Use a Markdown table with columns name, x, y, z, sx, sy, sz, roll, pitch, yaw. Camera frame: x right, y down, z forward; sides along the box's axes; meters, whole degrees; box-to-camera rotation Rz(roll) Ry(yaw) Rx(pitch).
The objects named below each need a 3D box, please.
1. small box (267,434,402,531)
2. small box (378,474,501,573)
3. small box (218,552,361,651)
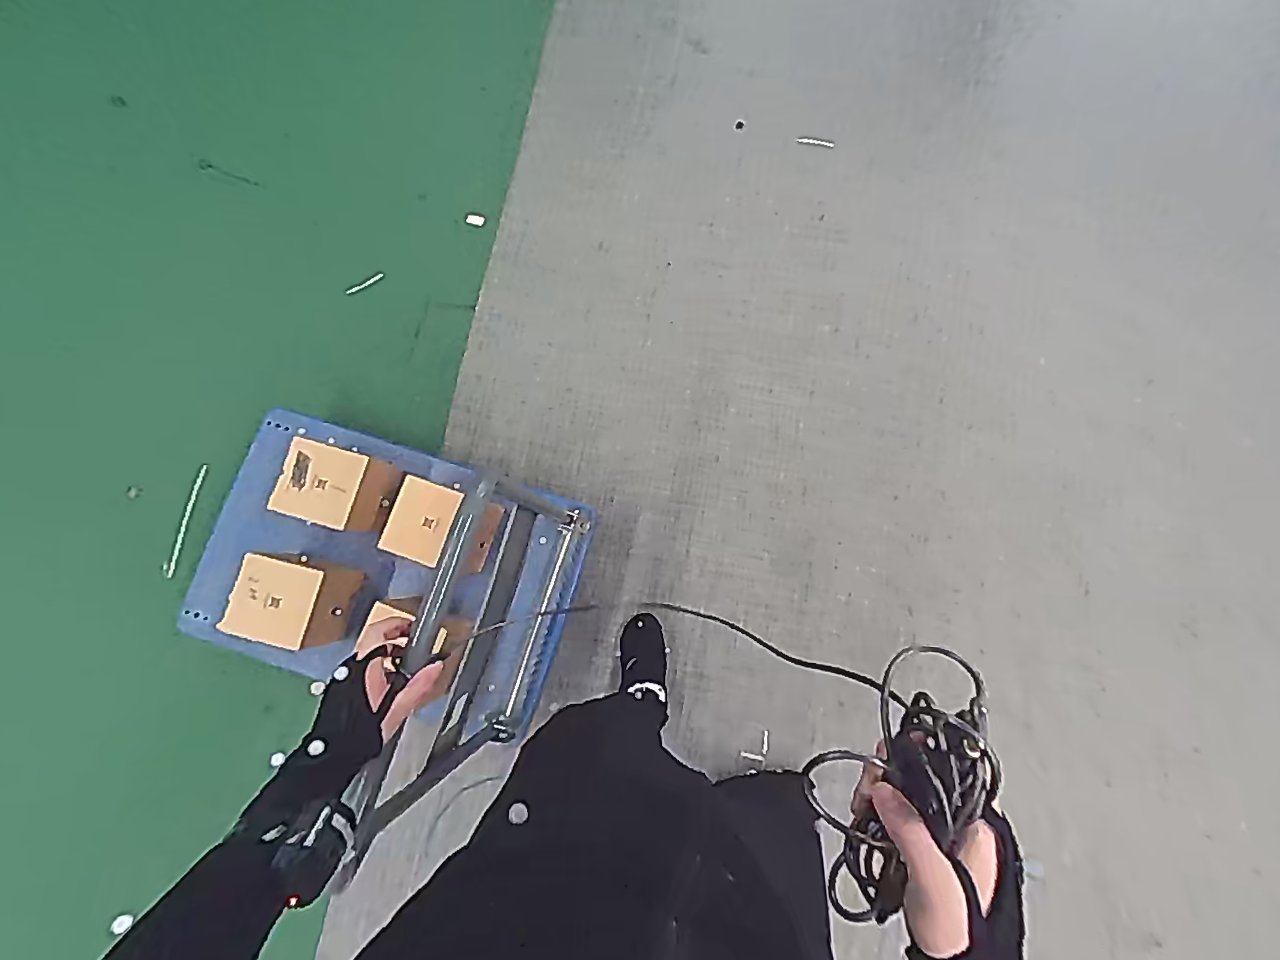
| name | x | y | z | sx | sy | sz | roll | pitch | yaw |
| --- | --- | --- | --- | --- | --- | --- | --- | --- | --- |
| small box | -0.675 | 0.014 | 1.215 | 0.179 | 0.176 | 0.168 | 17 | 83 | 2 |
| small box | -0.434 | 0.102 | 1.200 | 0.179 | 0.176 | 0.168 | 19 | 82 | 3 |
| small box | -0.750 | 0.257 | 1.180 | 0.179 | 0.176 | 0.168 | 15 | 81 | 3 |
